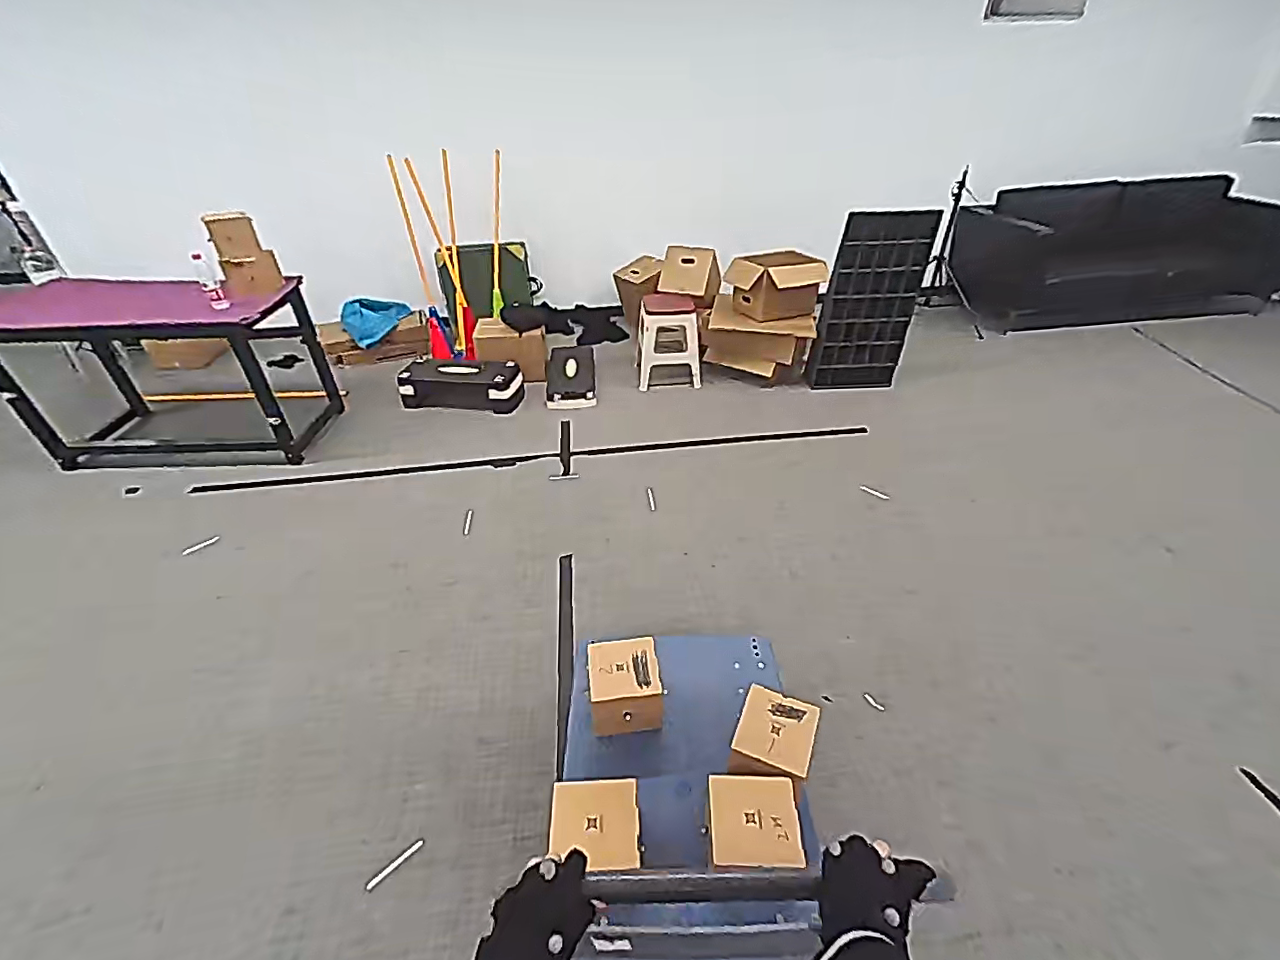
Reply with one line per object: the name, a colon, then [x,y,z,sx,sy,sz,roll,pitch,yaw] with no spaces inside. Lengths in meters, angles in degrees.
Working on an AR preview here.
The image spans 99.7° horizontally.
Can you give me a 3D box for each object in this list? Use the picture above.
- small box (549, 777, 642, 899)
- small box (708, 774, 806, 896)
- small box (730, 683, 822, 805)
small box: [-0.087,0.743,1.121,0.179,0.176,0.168,-1,37,-2]
small box: [0.231,0.734,1.118,0.179,0.176,0.168,1,37,3]
small box: [0.314,0.620,1.267,0.168,0.176,0.179,14,41,21]
